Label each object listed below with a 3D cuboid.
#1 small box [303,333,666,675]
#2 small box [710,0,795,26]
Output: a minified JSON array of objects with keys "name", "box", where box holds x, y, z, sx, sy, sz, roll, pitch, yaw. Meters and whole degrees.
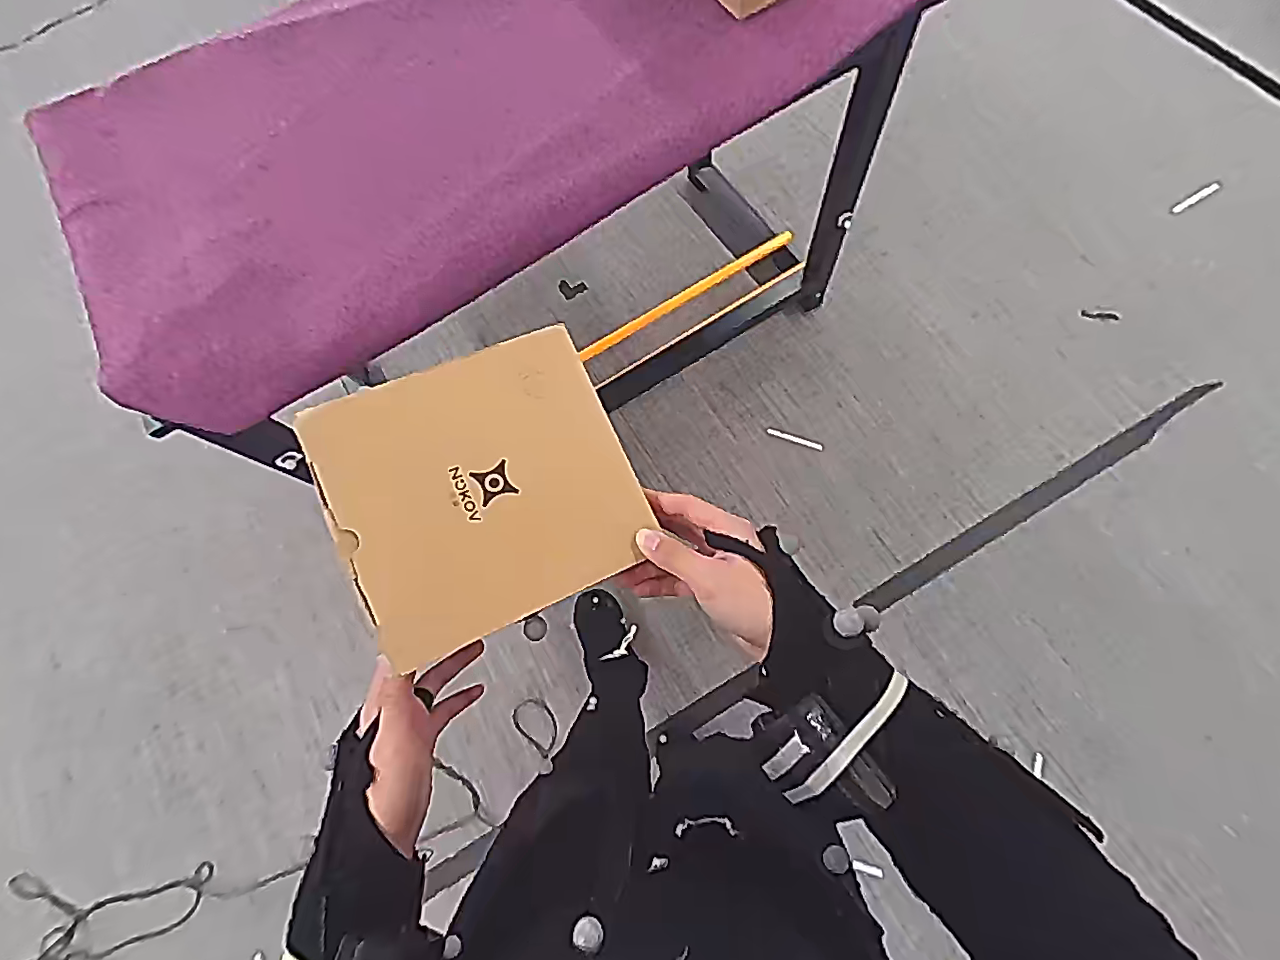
[{"name":"small box","box":[-0.106,0.021,0.408,0.179,0.176,0.168,-23,83,-14]},{"name":"small box","box":[0.169,-0.773,0.724,0.179,0.176,0.168,-30,70,-3]}]
